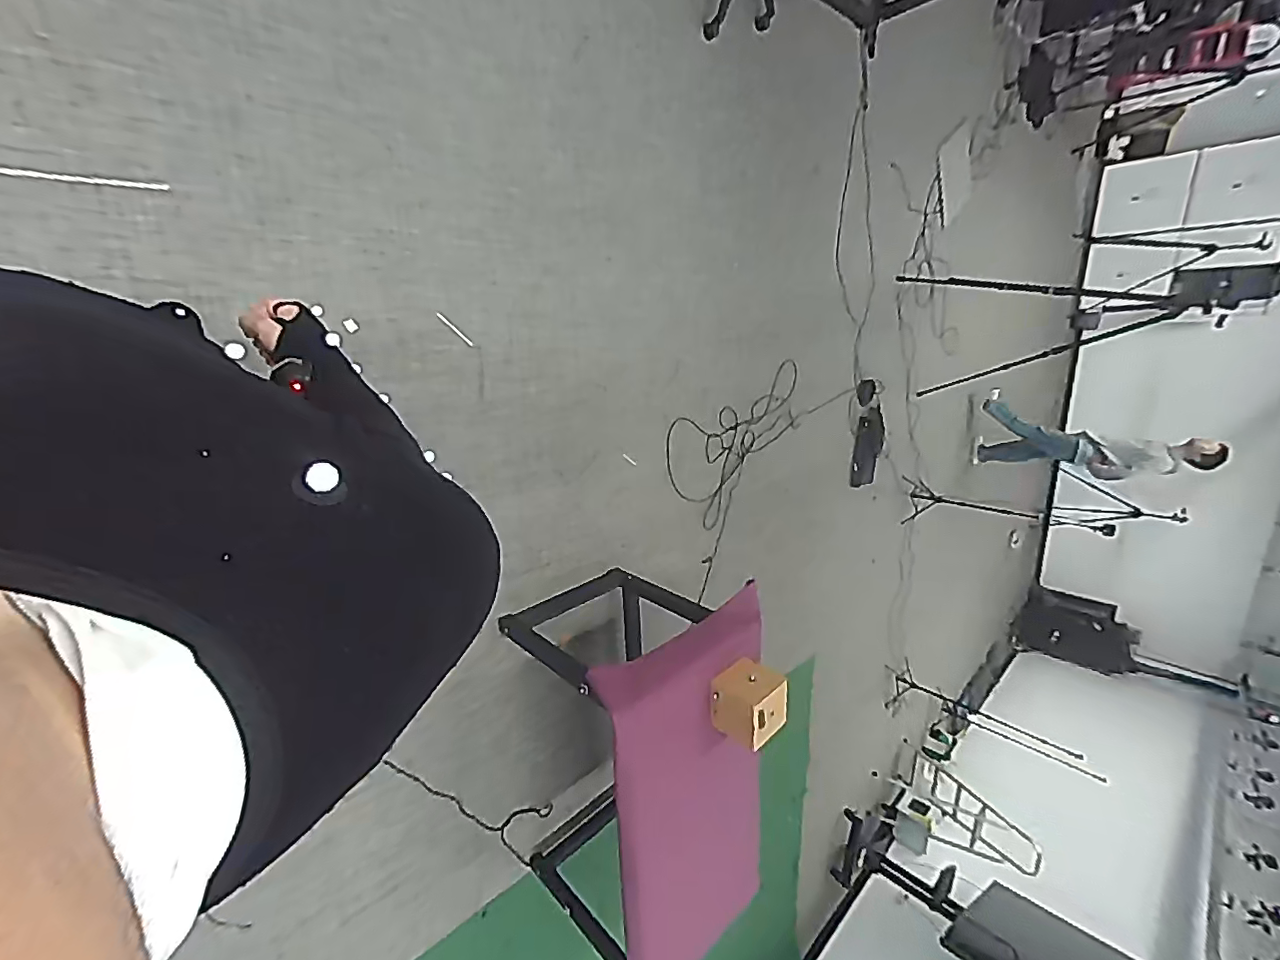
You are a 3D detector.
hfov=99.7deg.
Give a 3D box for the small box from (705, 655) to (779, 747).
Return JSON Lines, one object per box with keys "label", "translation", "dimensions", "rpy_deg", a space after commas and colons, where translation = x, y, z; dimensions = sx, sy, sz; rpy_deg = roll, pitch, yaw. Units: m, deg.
{"label": "small box", "translation": [0.316, 0.683, 1.691], "dimensions": [0.179, 0.176, 0.168], "rpy_deg": [-19, 113, -41]}
